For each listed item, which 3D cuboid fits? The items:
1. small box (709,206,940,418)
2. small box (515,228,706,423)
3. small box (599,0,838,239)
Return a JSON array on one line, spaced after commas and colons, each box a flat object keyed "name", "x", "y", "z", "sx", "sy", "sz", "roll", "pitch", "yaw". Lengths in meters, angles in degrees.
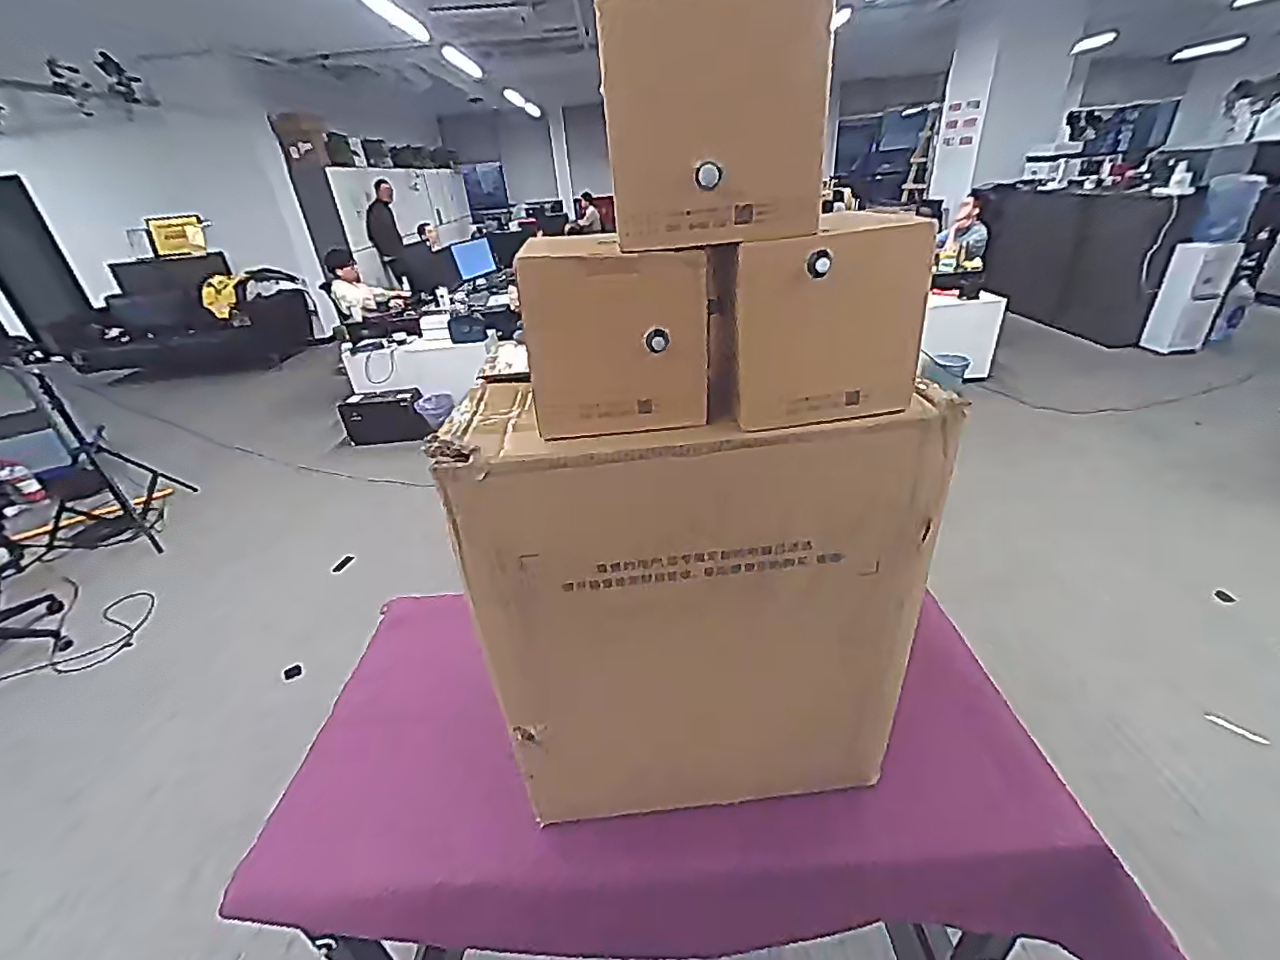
[{"name": "small box", "x": 0.164, "y": -0.174, "z": 0.546, "sx": 0.168, "sy": 0.176, "sz": 0.179, "roll": -8, "pitch": 28, "yaw": -2}, {"name": "small box", "x": -0.027, "y": -0.163, "z": 0.561, "sx": 0.168, "sy": 0.176, "sz": 0.179, "roll": -4, "pitch": 28, "yaw": -4}, {"name": "small box", "x": 0.064, "y": -0.312, "z": 0.475, "sx": 0.168, "sy": 0.176, "sz": 0.179, "roll": -3, "pitch": 30, "yaw": 6}]
